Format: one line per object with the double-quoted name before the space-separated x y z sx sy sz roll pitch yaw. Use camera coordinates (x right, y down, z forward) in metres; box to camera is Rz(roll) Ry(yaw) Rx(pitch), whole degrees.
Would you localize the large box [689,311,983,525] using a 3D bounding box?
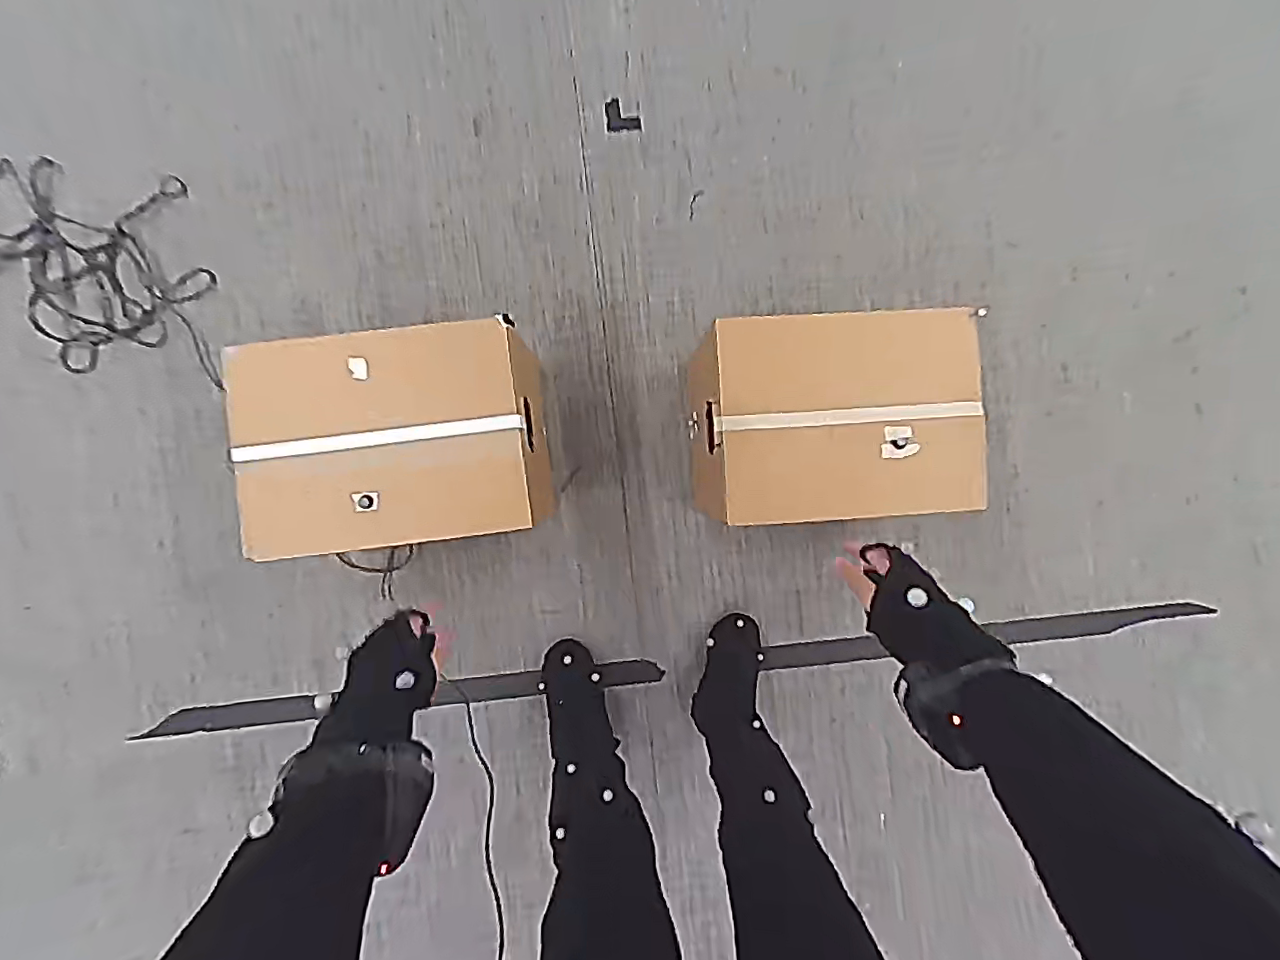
"large box" 0.315 -0.096 0.973 0.408 0.320 0.320 -3 91 -3
